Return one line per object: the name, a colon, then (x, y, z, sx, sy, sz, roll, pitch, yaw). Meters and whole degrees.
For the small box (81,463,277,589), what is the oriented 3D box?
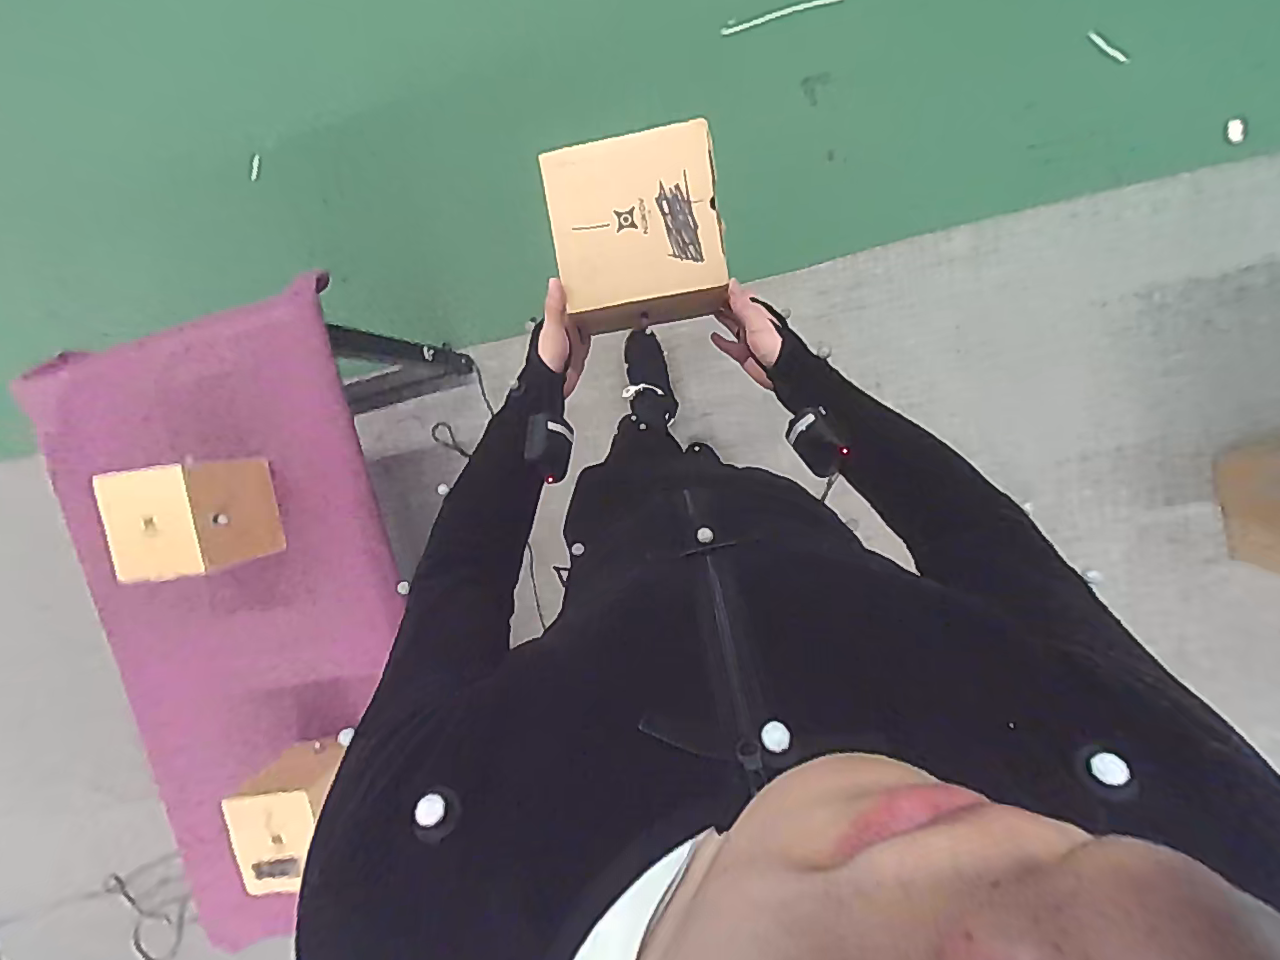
small box: (-0.760, 0.067, 0.912, 0.168, 0.176, 0.179, -8, 97, 7)

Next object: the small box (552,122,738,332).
small box: (0.009, -0.278, 0.633, 0.179, 0.176, 0.168, -8, 96, 4)
